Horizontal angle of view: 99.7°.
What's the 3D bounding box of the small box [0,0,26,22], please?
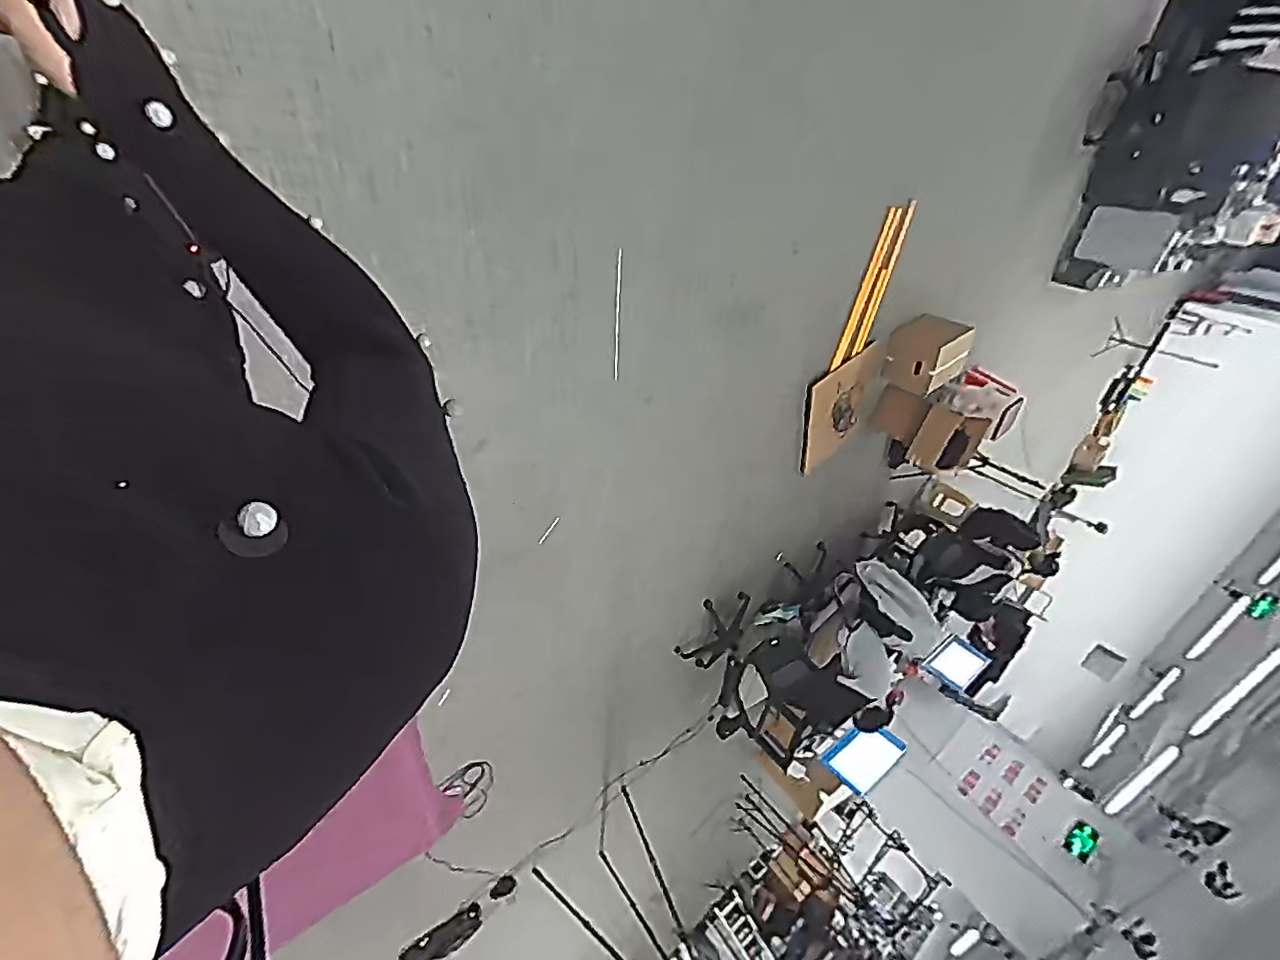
[{"bbox_3d":[-0.551,-0.435,0.354,0.168,0.176,0.179,-15,130,-40],"label":"small box"}]
